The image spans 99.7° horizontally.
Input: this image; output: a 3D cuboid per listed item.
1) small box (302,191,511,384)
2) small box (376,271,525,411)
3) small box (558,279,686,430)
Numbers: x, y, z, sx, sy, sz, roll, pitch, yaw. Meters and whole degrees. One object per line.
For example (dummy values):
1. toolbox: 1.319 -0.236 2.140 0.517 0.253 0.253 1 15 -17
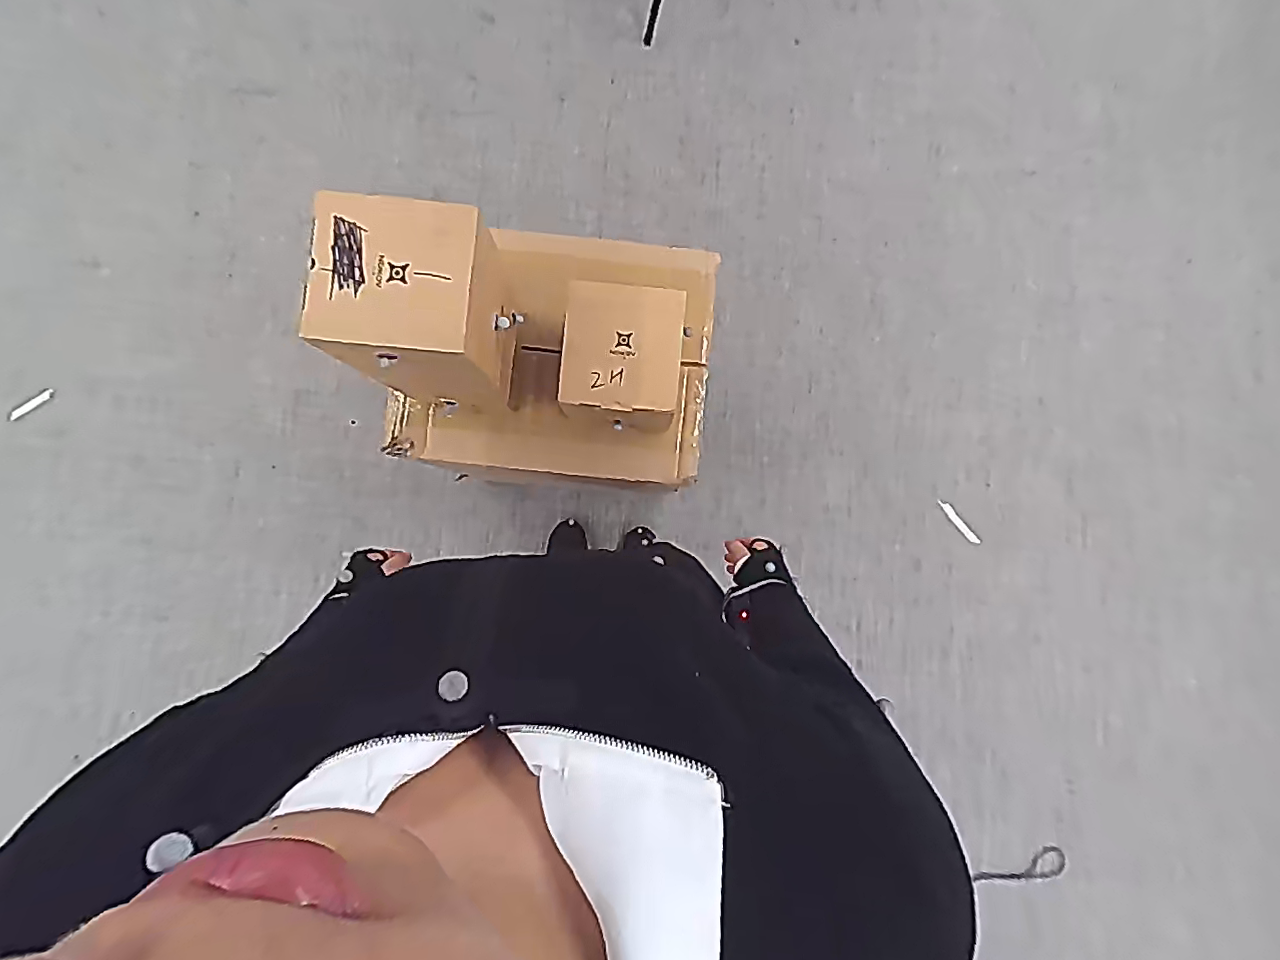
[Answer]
1. small box: -0.269 -0.221 0.662 0.179 0.176 0.168 5 86 -2
2. small box: -0.276 -0.213 0.826 0.168 0.176 0.179 5 87 -1
3. small box: -0.025 -0.182 0.828 0.168 0.176 0.179 5 87 1
